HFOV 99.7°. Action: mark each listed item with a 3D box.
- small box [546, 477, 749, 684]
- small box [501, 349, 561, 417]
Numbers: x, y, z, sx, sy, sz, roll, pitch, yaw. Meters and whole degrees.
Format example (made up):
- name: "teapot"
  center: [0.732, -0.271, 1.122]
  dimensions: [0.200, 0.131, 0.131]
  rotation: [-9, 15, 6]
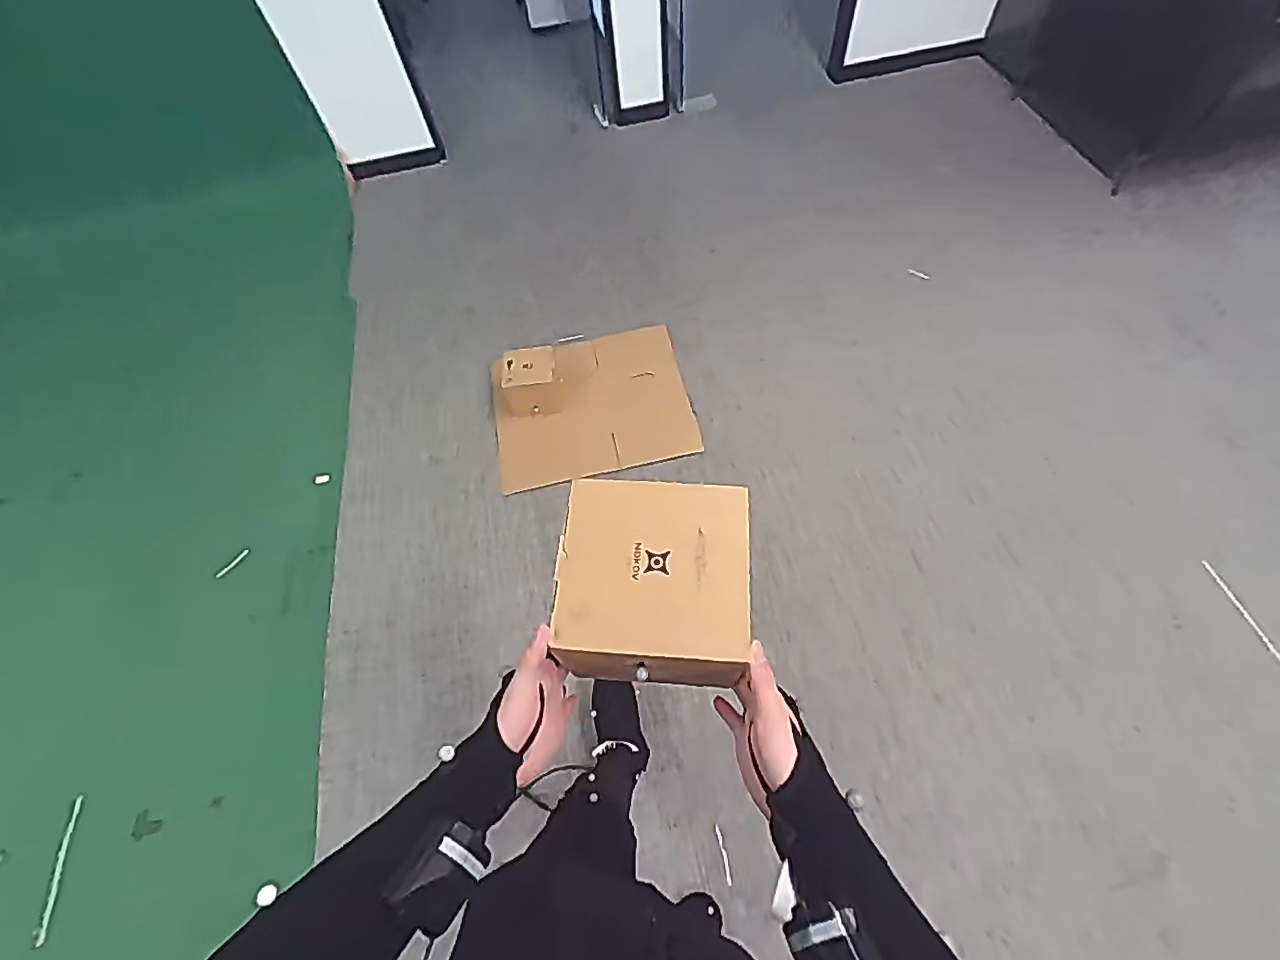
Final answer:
- name: "small box"
  center: [0.016, 0.111, 0.563]
  dimensions: [0.179, 0.176, 0.168]
  rotation: [3, 62, 4]
- name: "small box"
  center: [-0.379, -0.340, 1.914]
  dimensions: [0.179, 0.176, 0.168]
  rotation: [-5, 60, 2]
